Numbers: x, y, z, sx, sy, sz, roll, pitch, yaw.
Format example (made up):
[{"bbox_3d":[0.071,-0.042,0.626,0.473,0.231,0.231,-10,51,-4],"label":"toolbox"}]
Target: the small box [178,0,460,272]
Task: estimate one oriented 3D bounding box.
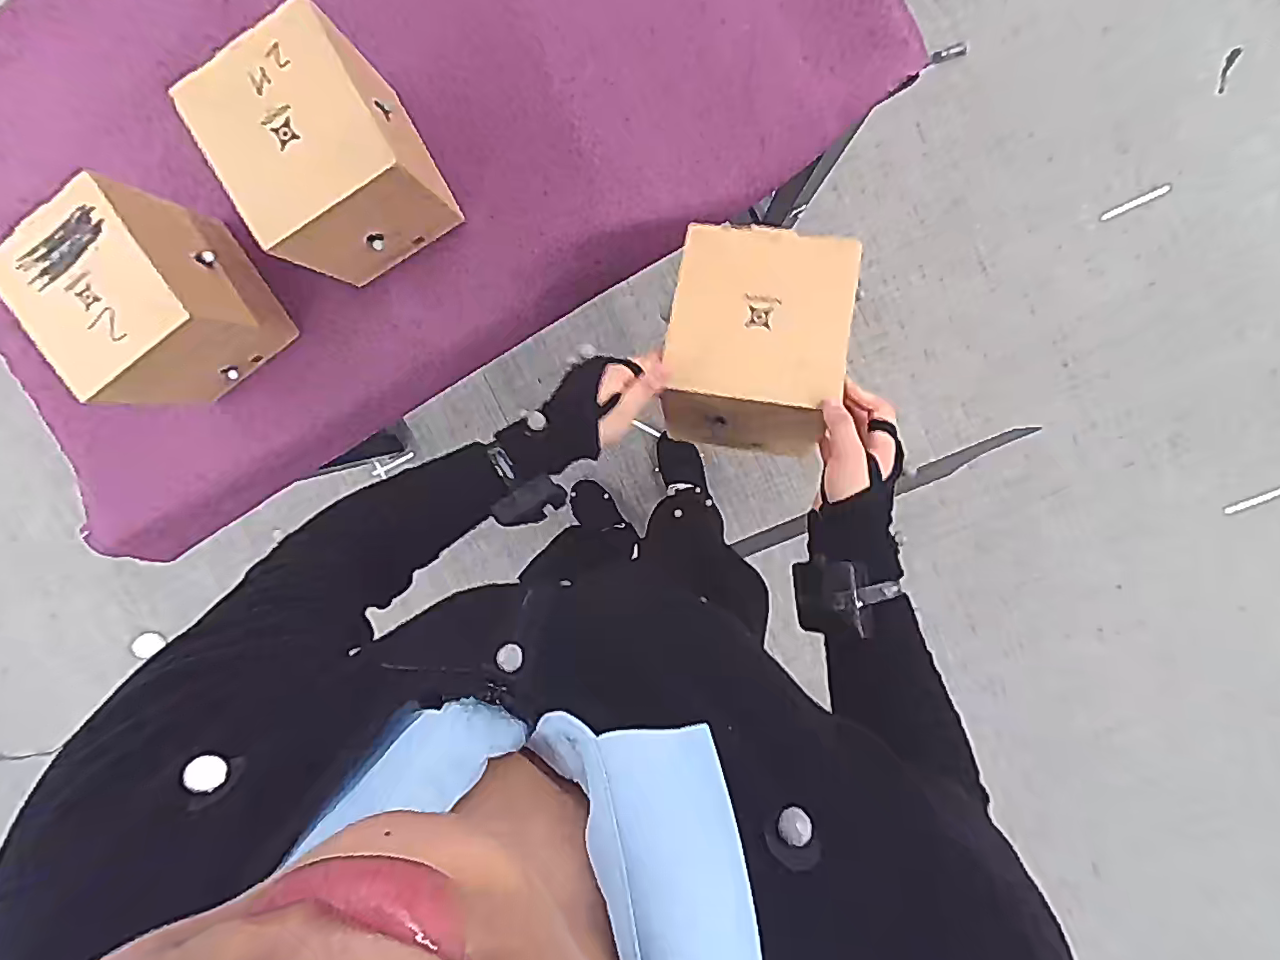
[{"bbox_3d":[-0.332,-0.353,0.600,0.168,0.176,0.179,-28,95,6],"label":"small box"}]
